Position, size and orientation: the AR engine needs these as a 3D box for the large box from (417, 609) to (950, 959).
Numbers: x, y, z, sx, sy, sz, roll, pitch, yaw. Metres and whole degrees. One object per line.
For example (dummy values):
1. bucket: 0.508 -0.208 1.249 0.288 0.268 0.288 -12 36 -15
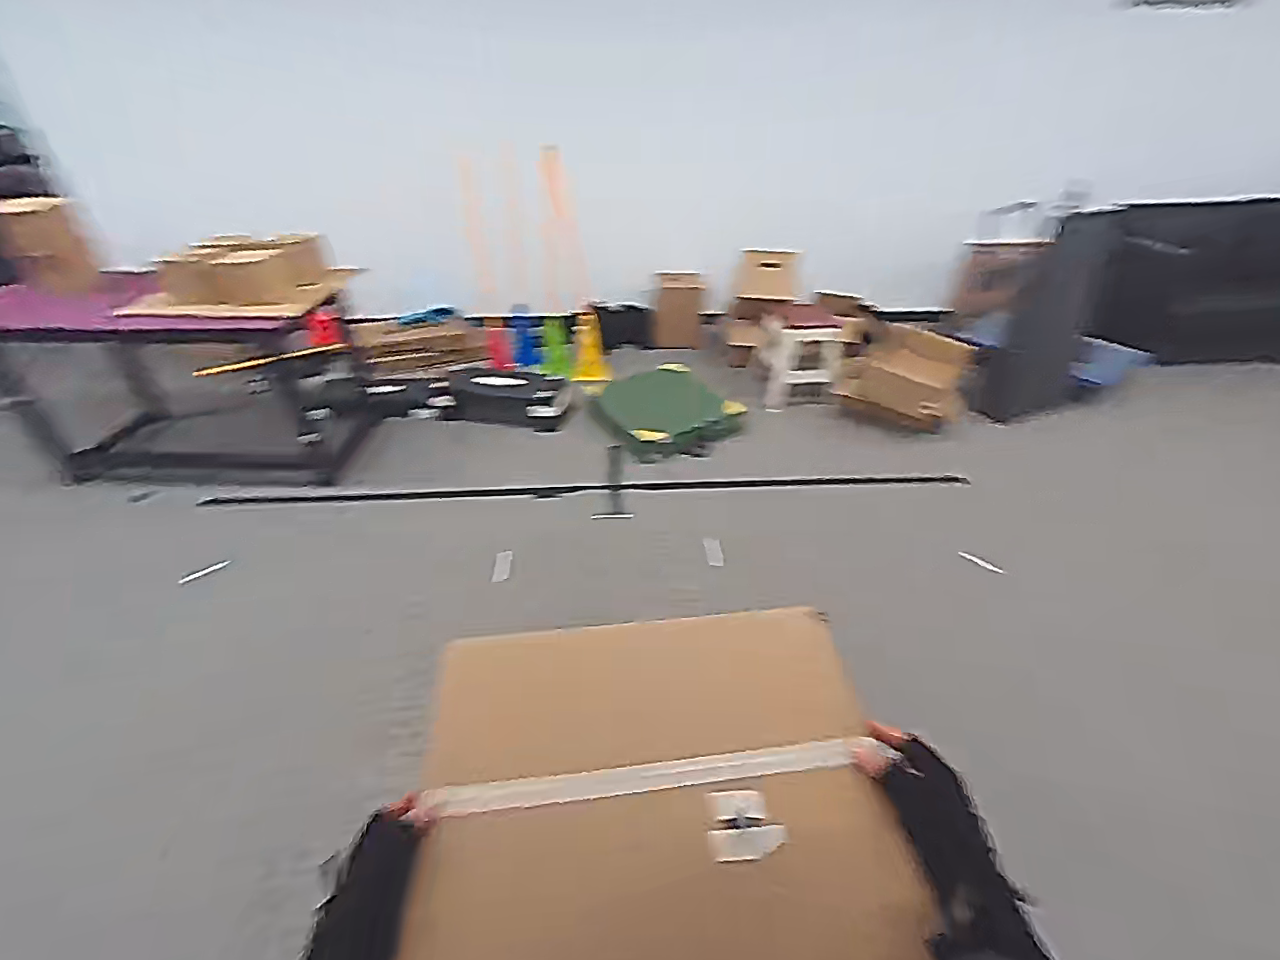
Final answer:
1. large box: 0.017 0.374 0.592 0.408 0.320 0.320 -3 44 -5
